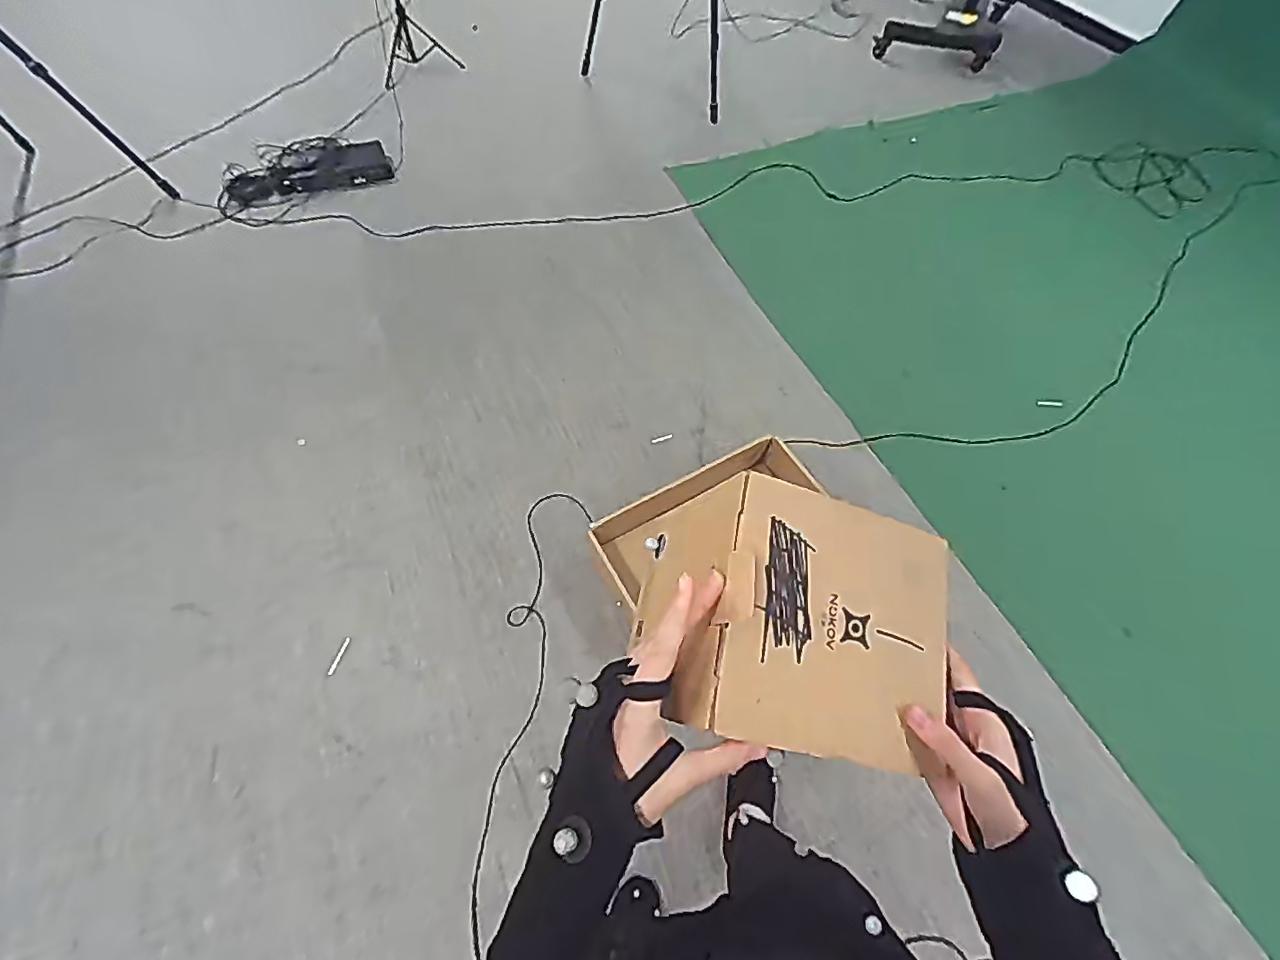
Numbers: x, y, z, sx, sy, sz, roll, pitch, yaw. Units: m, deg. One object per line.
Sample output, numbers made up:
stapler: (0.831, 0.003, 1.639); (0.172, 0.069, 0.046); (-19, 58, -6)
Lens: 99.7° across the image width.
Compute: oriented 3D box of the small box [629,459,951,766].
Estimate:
small box: (0.107, 0.106, 0.424); (0.179, 0.176, 0.168); (19, 68, -16)
